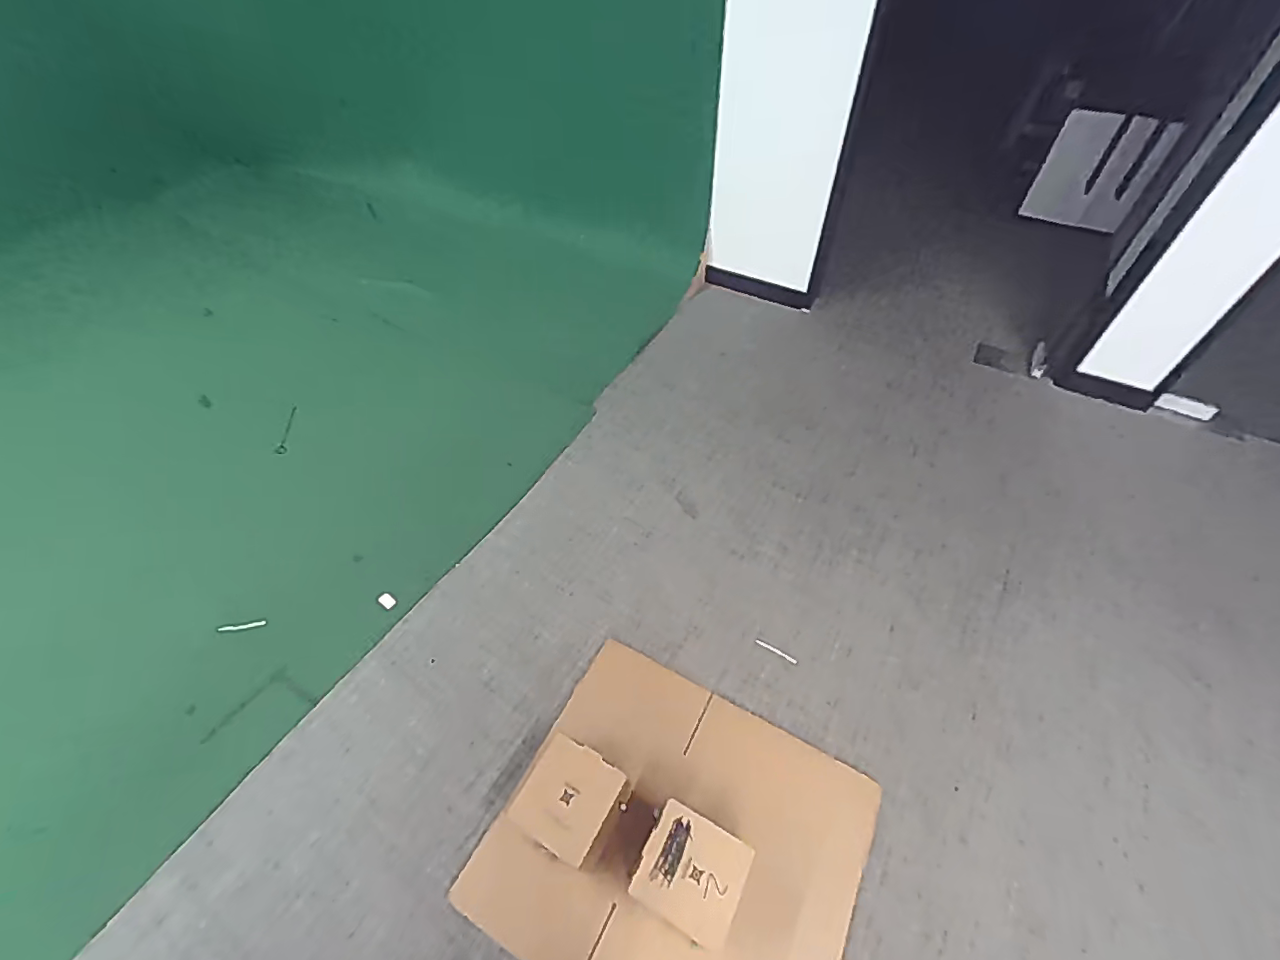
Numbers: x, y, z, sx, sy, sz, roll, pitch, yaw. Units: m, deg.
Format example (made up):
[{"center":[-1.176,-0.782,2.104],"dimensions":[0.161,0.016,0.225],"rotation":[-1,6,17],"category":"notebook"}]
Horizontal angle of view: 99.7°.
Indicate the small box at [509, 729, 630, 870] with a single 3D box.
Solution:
[{"center":[-0.131,0.637,1.076],"dimensions":[0.168,0.176,0.179],"rotation":[23,57,20],"category":"small box"}]
